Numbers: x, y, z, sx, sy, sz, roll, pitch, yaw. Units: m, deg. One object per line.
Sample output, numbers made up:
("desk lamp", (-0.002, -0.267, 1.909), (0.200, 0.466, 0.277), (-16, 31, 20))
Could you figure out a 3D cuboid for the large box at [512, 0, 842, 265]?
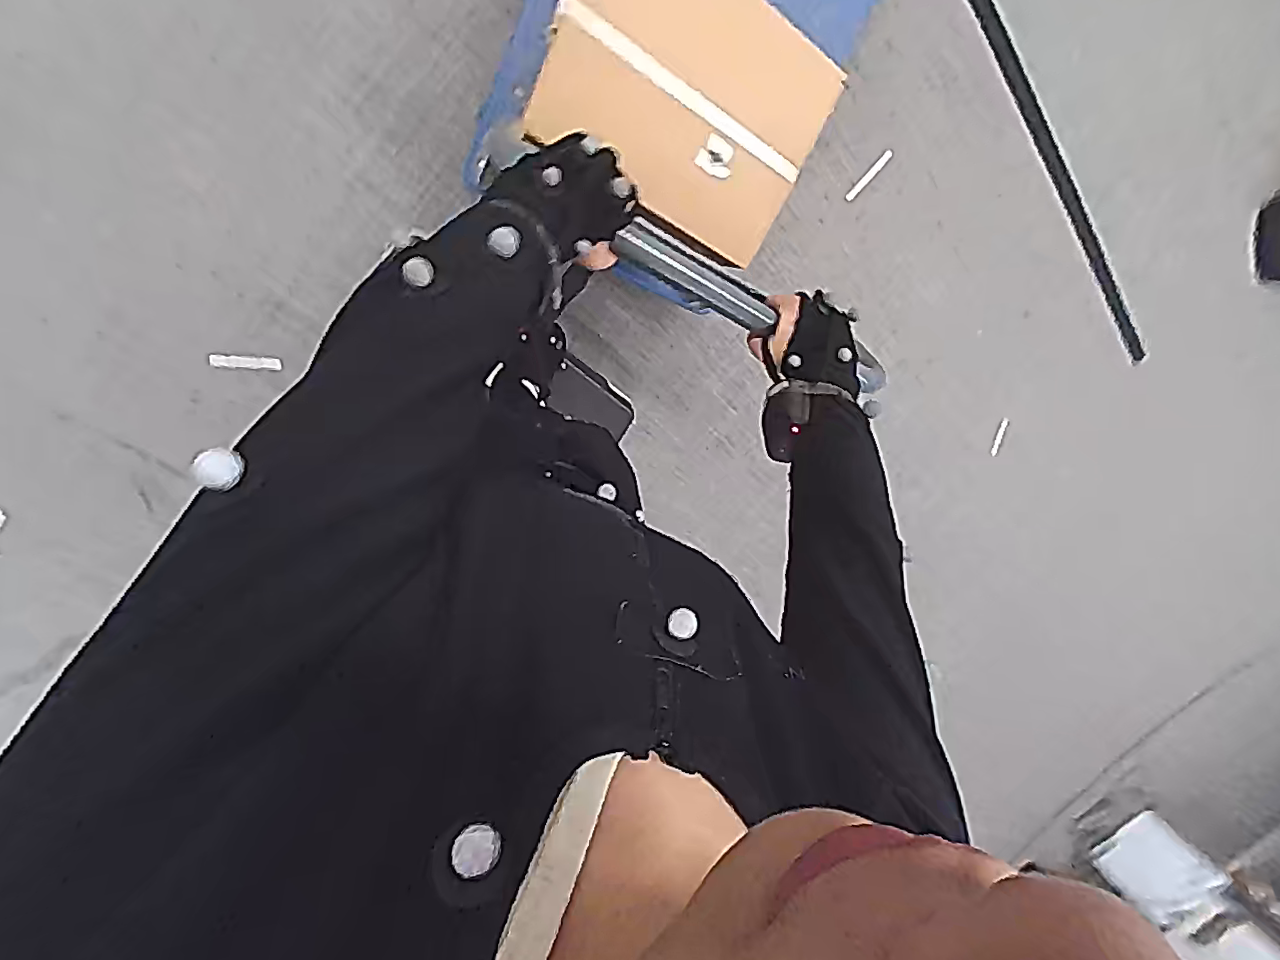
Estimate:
("large box", (0.035, -0.611, 0.914), (0.408, 0.320, 0.320), (21, 107, -25))
